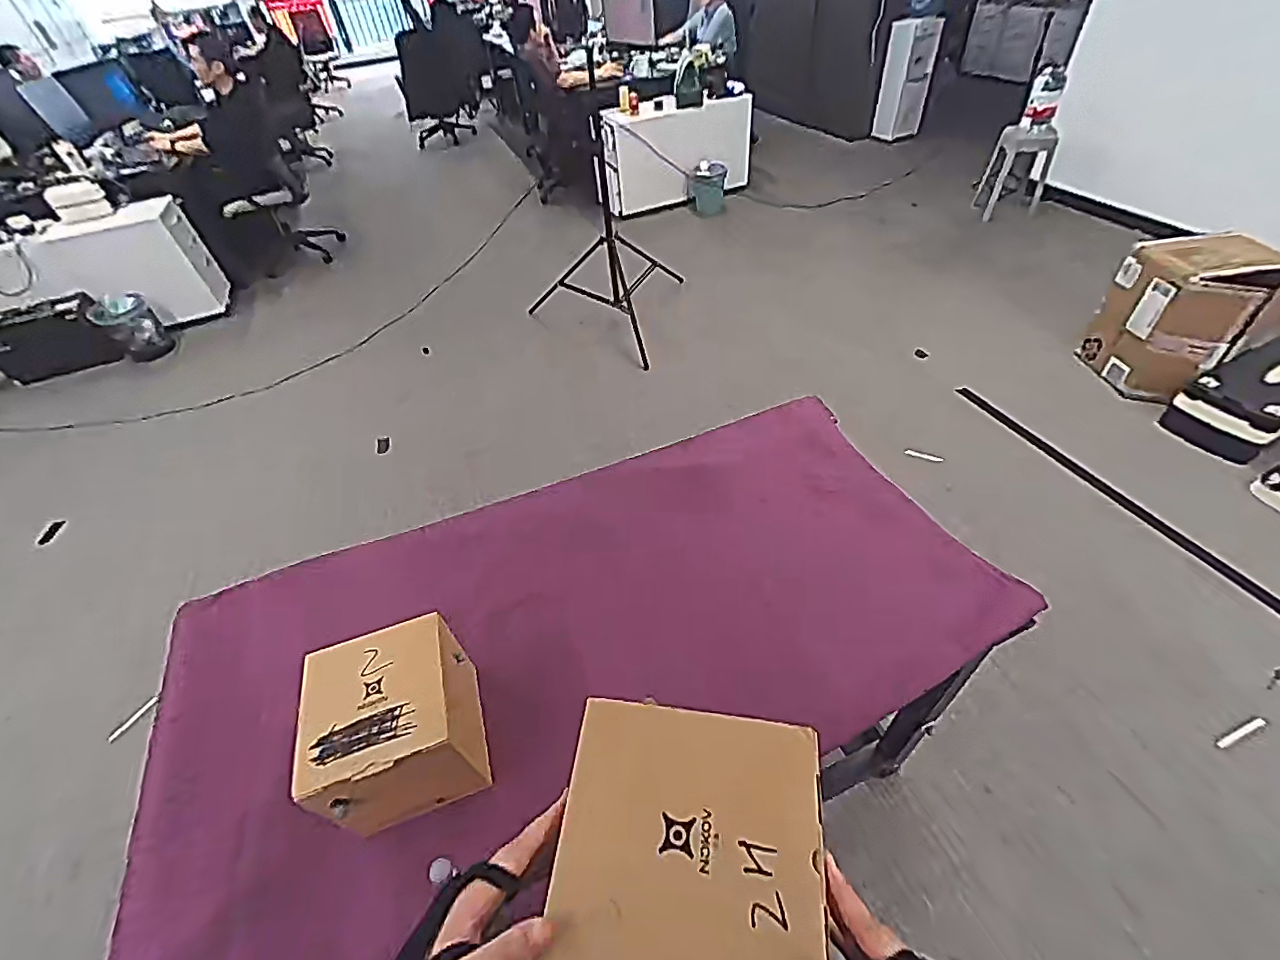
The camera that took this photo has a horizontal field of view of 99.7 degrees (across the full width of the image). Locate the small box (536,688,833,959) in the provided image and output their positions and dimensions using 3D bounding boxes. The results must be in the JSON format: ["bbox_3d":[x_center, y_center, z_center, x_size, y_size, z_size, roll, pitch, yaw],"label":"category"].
[{"bbox_3d":[0.038,0.282,0.419,0.179,0.176,0.168,6,50,7],"label":"small box"}]
